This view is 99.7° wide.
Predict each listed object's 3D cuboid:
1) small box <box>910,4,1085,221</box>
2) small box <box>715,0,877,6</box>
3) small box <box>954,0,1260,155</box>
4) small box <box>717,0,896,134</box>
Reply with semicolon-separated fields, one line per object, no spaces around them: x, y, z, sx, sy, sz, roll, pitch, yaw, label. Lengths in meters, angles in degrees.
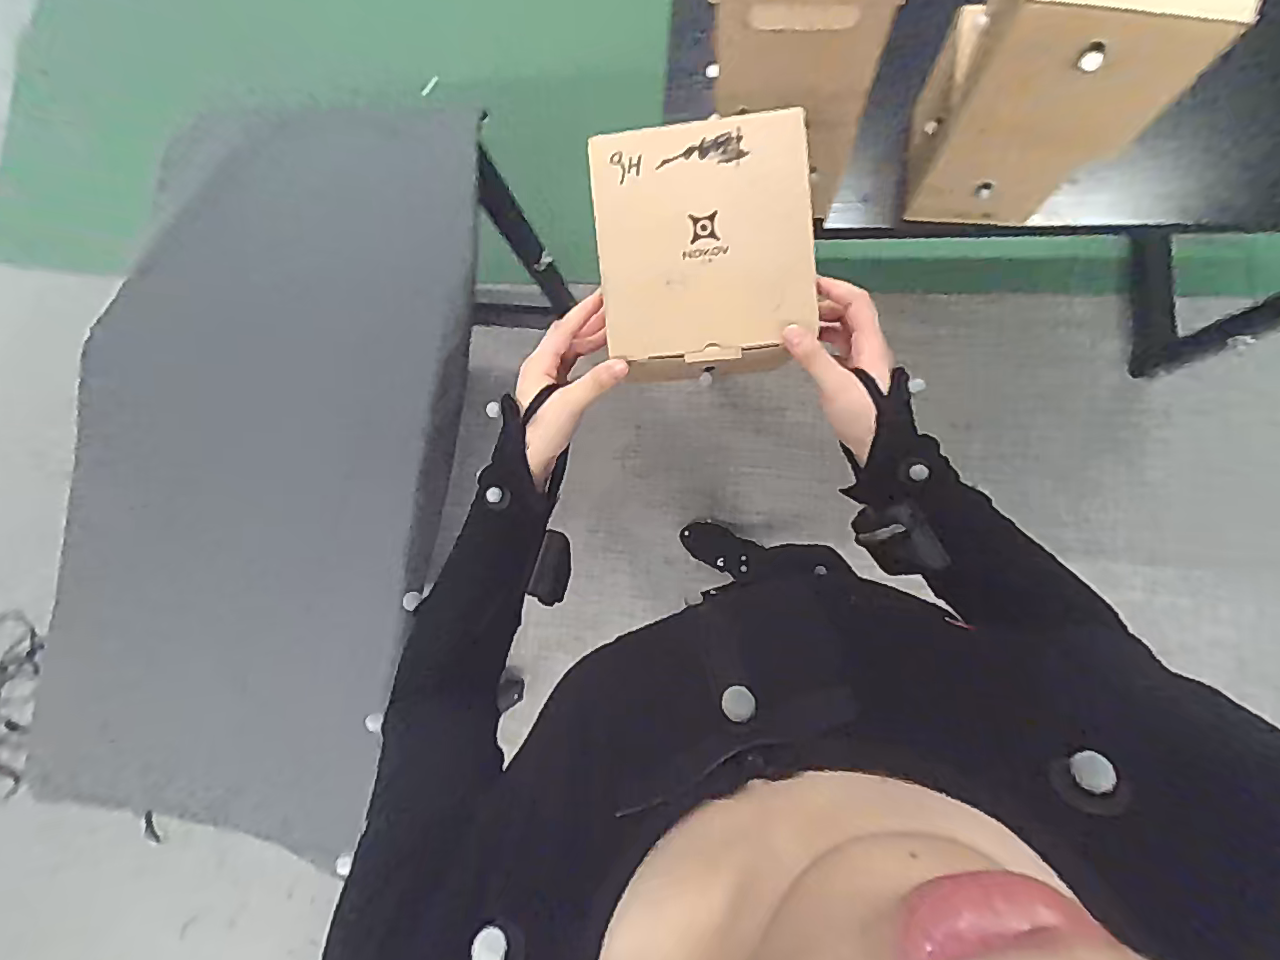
0.467;-0.463;0.702;0.168;0.176;0.179;7;84;9;small box
0.152;-0.522;0.425;0.179;0.176;0.168;7;83;9;small box
0.453;-0.462;0.538;0.179;0.176;0.168;16;86;10;small box
0.177;-0.511;0.586;0.168;0.176;0.179;7;83;9;small box
